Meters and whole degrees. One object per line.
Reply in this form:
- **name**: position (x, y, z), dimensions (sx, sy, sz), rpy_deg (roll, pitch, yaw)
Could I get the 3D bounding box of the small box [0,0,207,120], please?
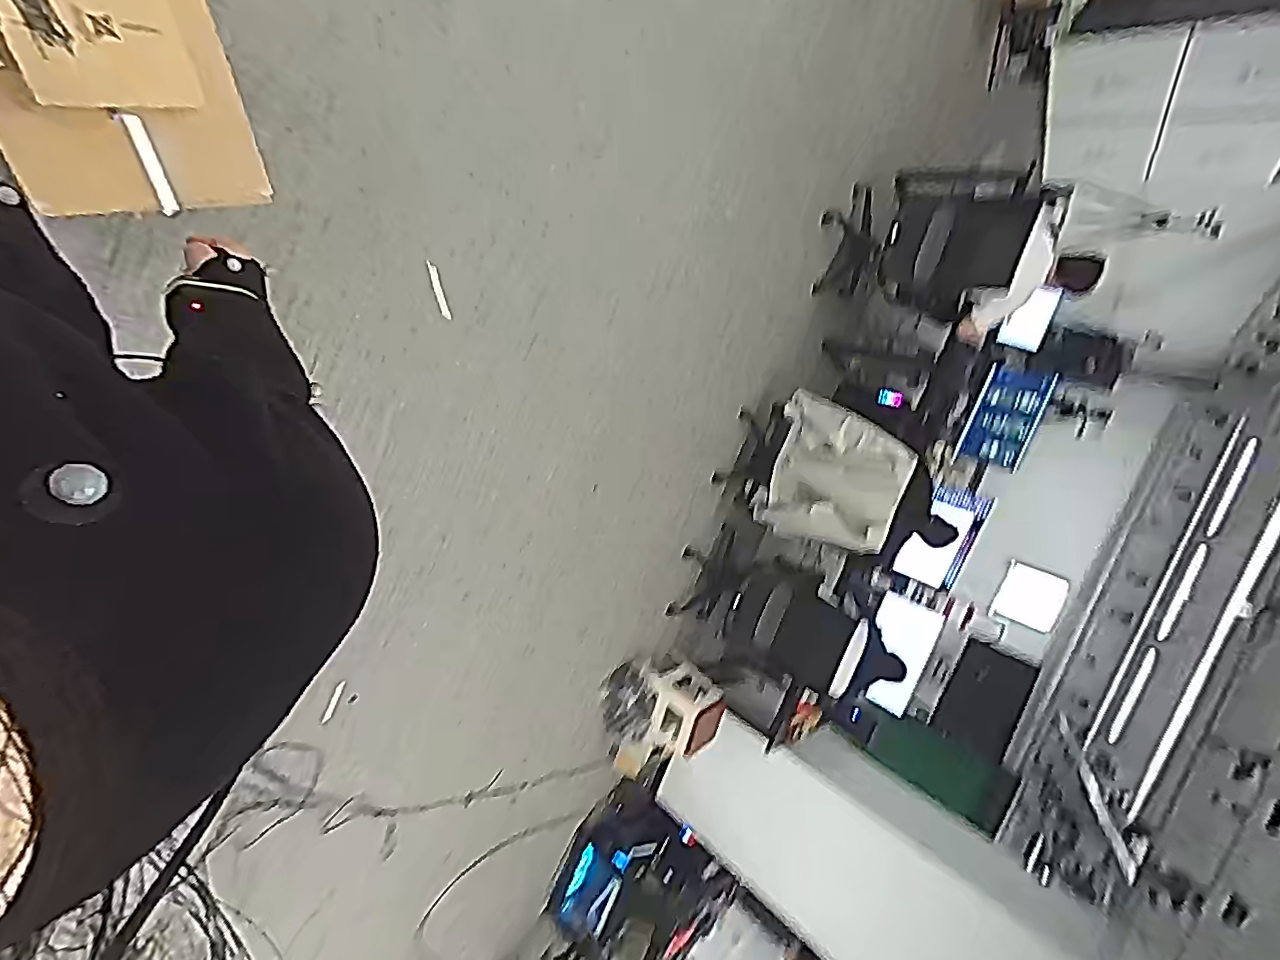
- **small box**: position (-0.707, -0.564, 0.690), dimensions (0.179, 0.176, 0.168), rpy_deg (-31, 132, -39)
